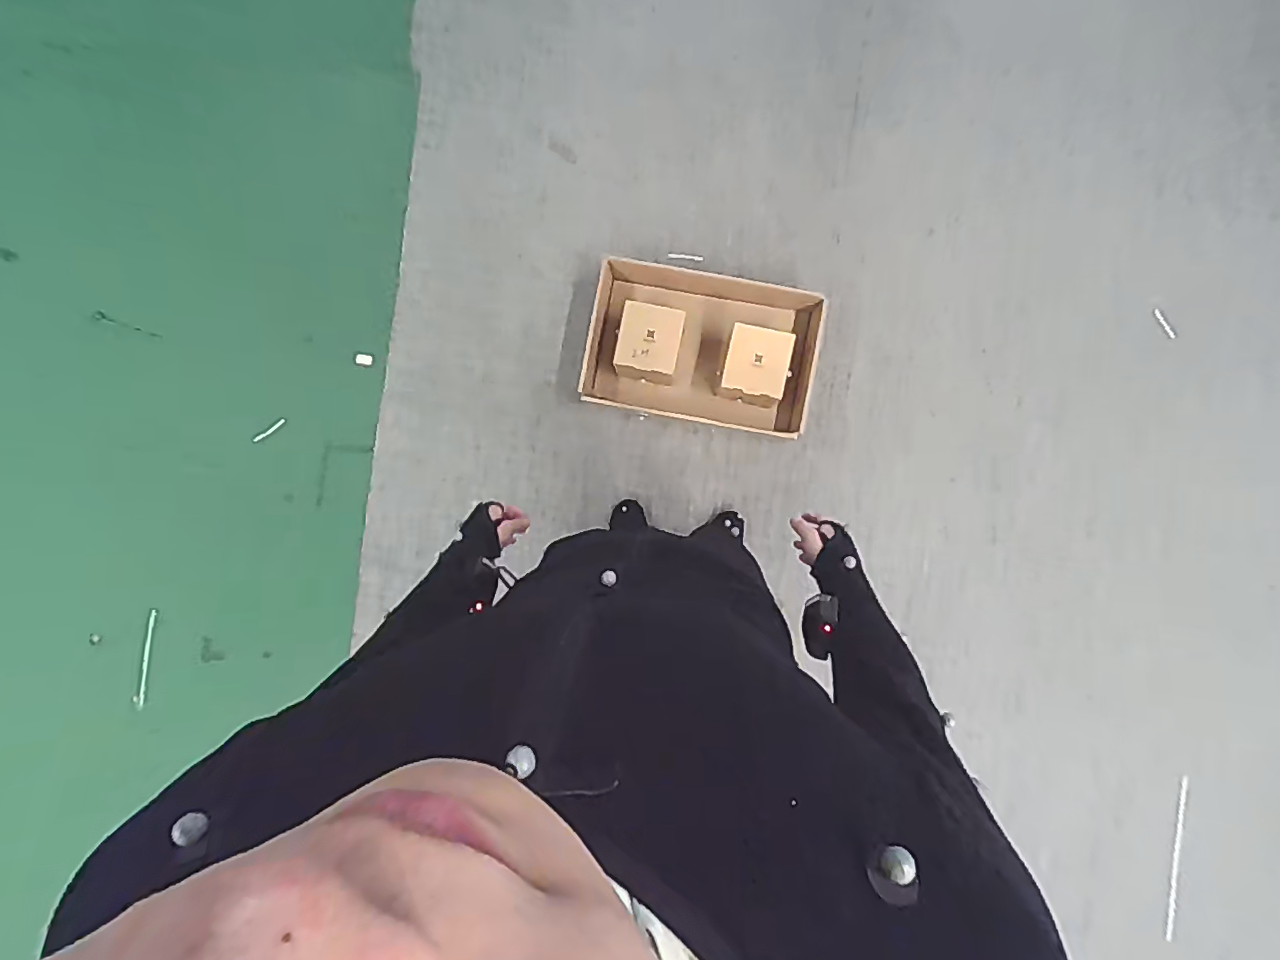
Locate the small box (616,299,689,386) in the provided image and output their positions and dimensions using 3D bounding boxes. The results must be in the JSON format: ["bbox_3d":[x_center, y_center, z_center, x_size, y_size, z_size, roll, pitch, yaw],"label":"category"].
[{"bbox_3d":[0.034,-0.375,1.501,0.168,0.176,0.179,12,89,3],"label":"small box"}]
